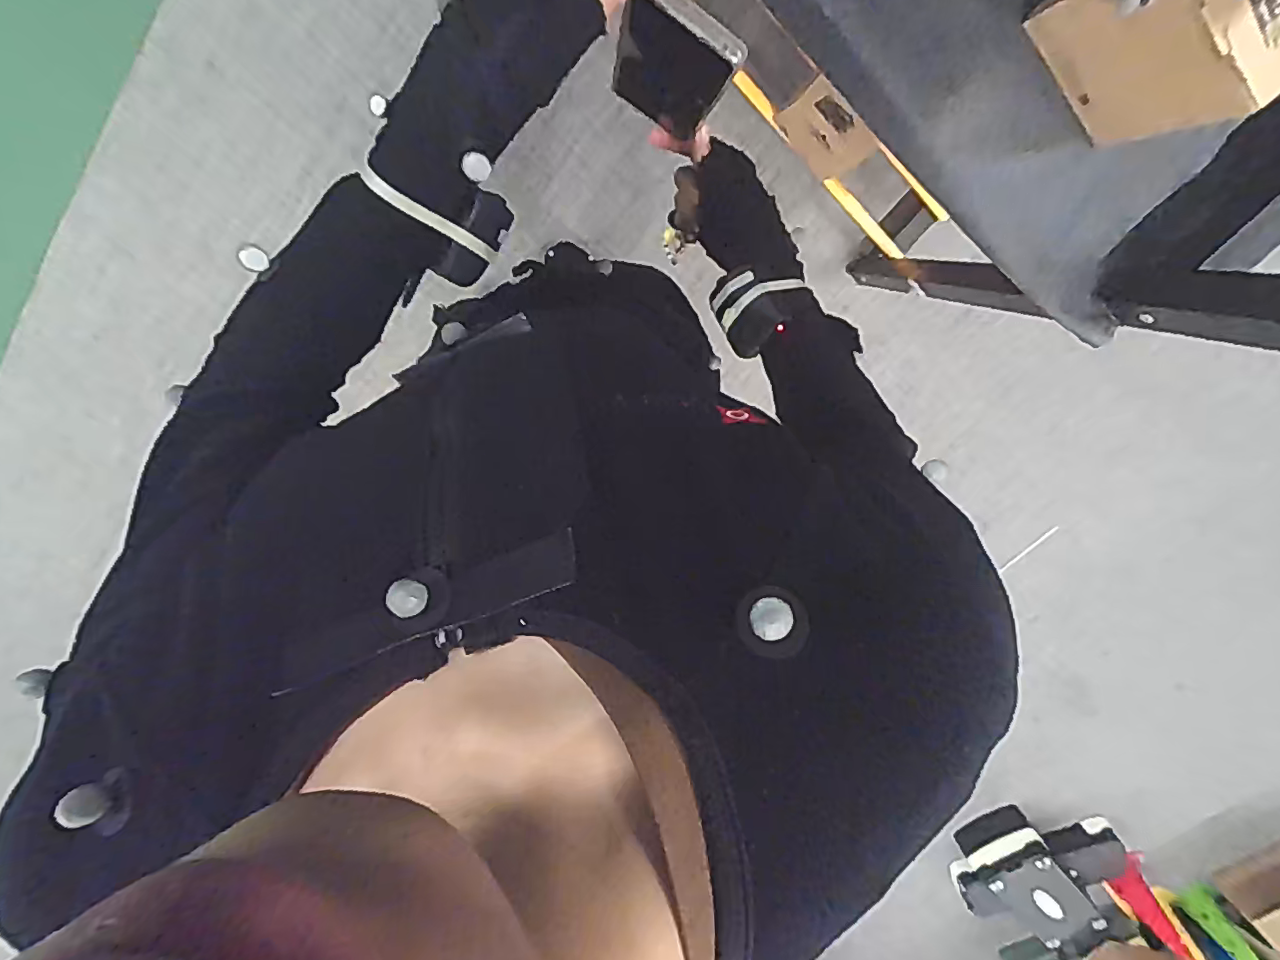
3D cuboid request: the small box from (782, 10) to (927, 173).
[{"bbox_3d":[0.392,-0.721,1.032,0.168,0.176,0.179,41,107,-18],"label":"small box"}]
